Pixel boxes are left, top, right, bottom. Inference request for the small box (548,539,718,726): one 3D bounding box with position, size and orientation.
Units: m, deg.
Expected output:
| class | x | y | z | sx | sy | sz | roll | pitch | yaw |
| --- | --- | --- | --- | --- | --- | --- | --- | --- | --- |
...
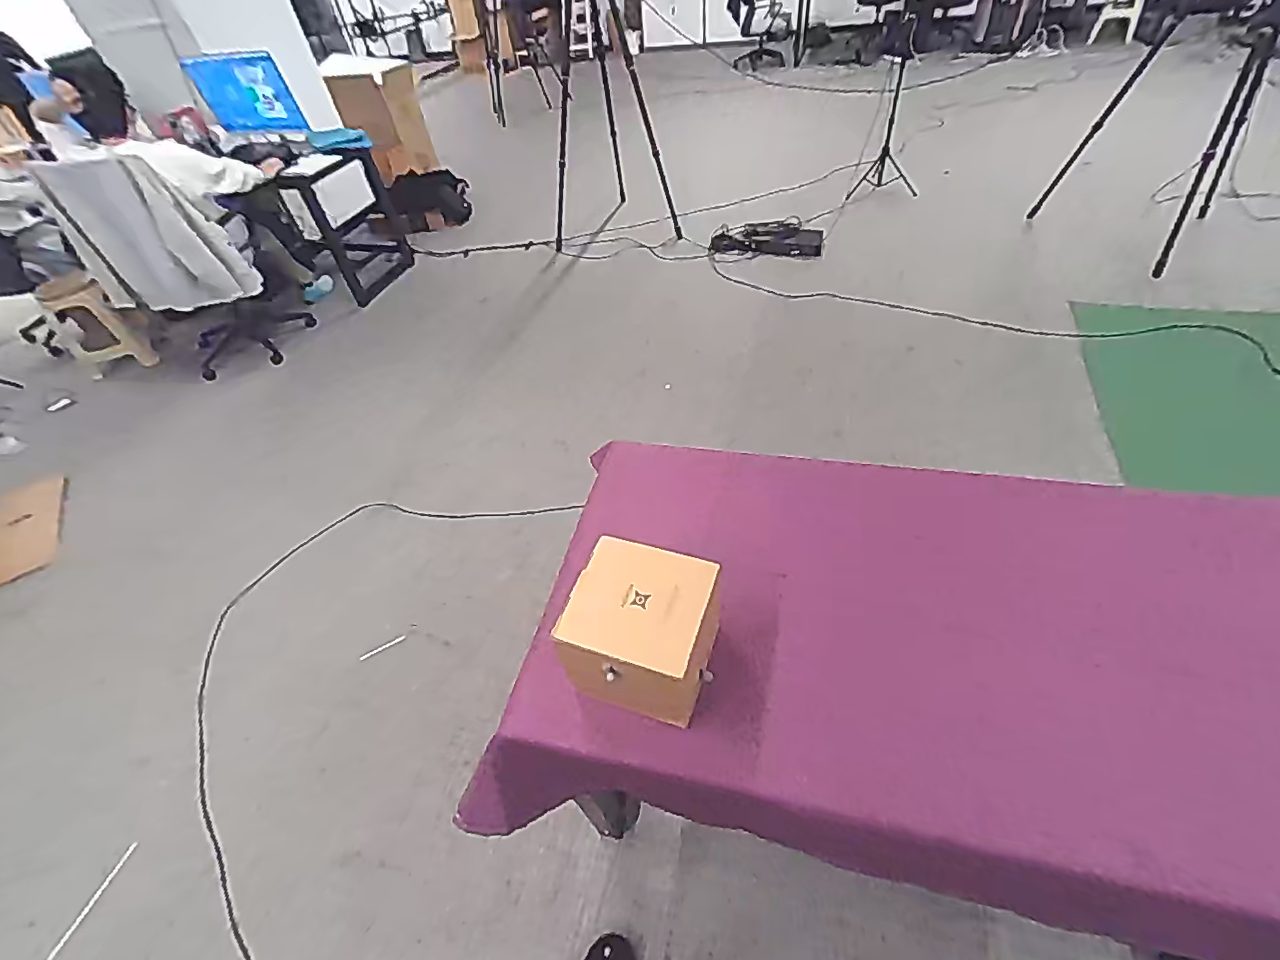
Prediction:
| class | x | y | z | sx | sy | sz | roll | pitch | yaw |
| --- | --- | --- | --- | --- | --- | --- | --- | --- | --- |
| small box | 0.001 | 0.212 | 0.746 | 0.179 | 0.176 | 0.168 | 12 | 50 | 18 |
